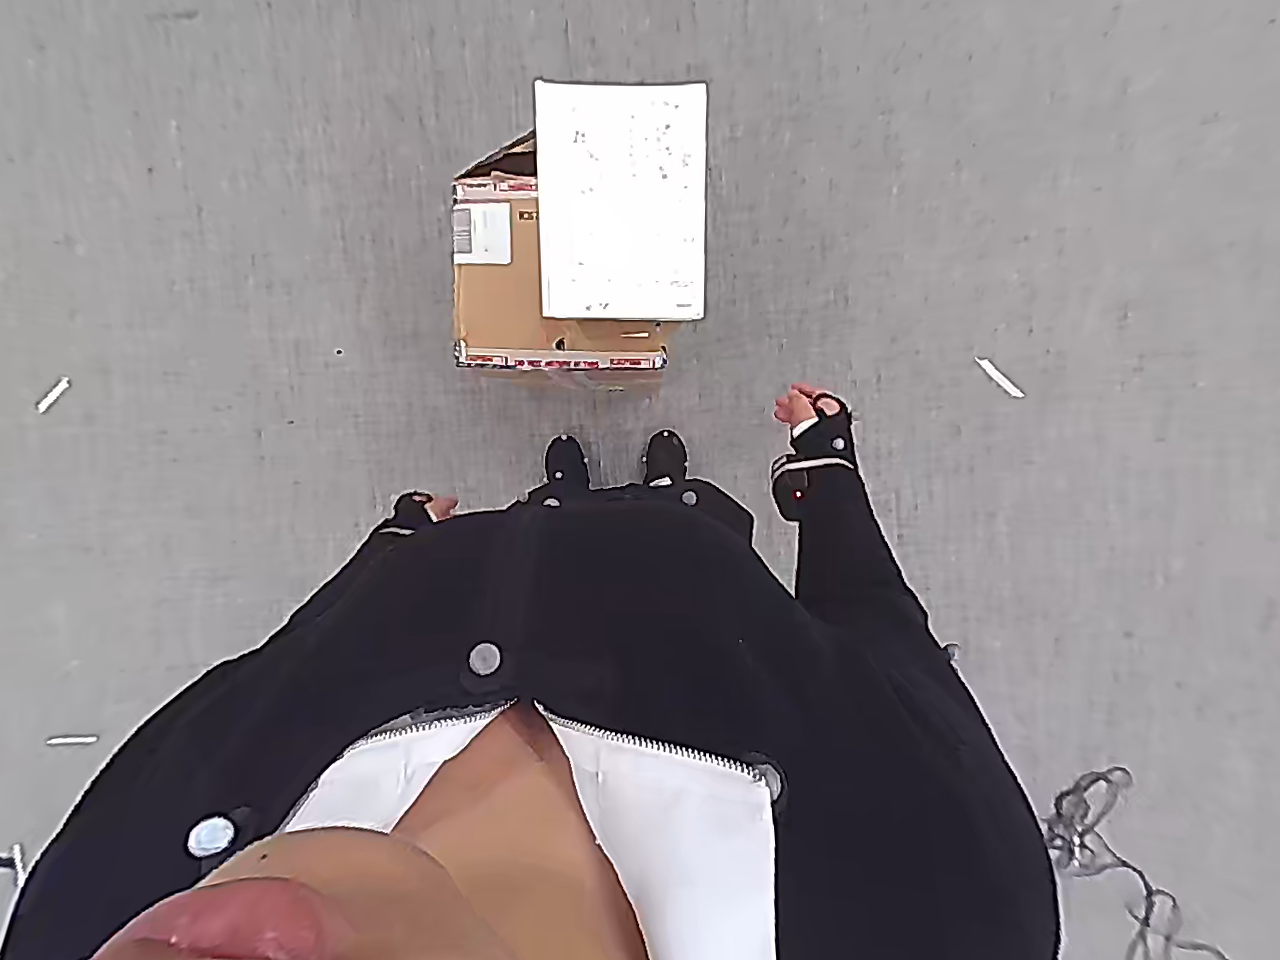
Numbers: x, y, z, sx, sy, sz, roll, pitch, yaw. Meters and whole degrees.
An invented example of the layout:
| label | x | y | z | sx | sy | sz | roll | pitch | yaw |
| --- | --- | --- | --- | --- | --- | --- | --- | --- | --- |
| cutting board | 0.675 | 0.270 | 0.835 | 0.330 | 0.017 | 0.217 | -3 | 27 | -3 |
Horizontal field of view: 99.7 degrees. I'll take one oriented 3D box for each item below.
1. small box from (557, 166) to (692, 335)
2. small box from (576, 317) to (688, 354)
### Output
| label | x | y | z | sx | sy | sz | roll | pitch | yaw |
| --- | --- | --- | --- | --- | --- | --- | --- | --- | --- |
| small box | -0.020 | -0.307 | 0.753 | 0.168 | 0.176 | 0.179 | -3 | 96 | 0 |
| small box | -0.019 | -0.313 | 0.915 | 0.179 | 0.176 | 0.168 | -5 | 95 | 1 |
